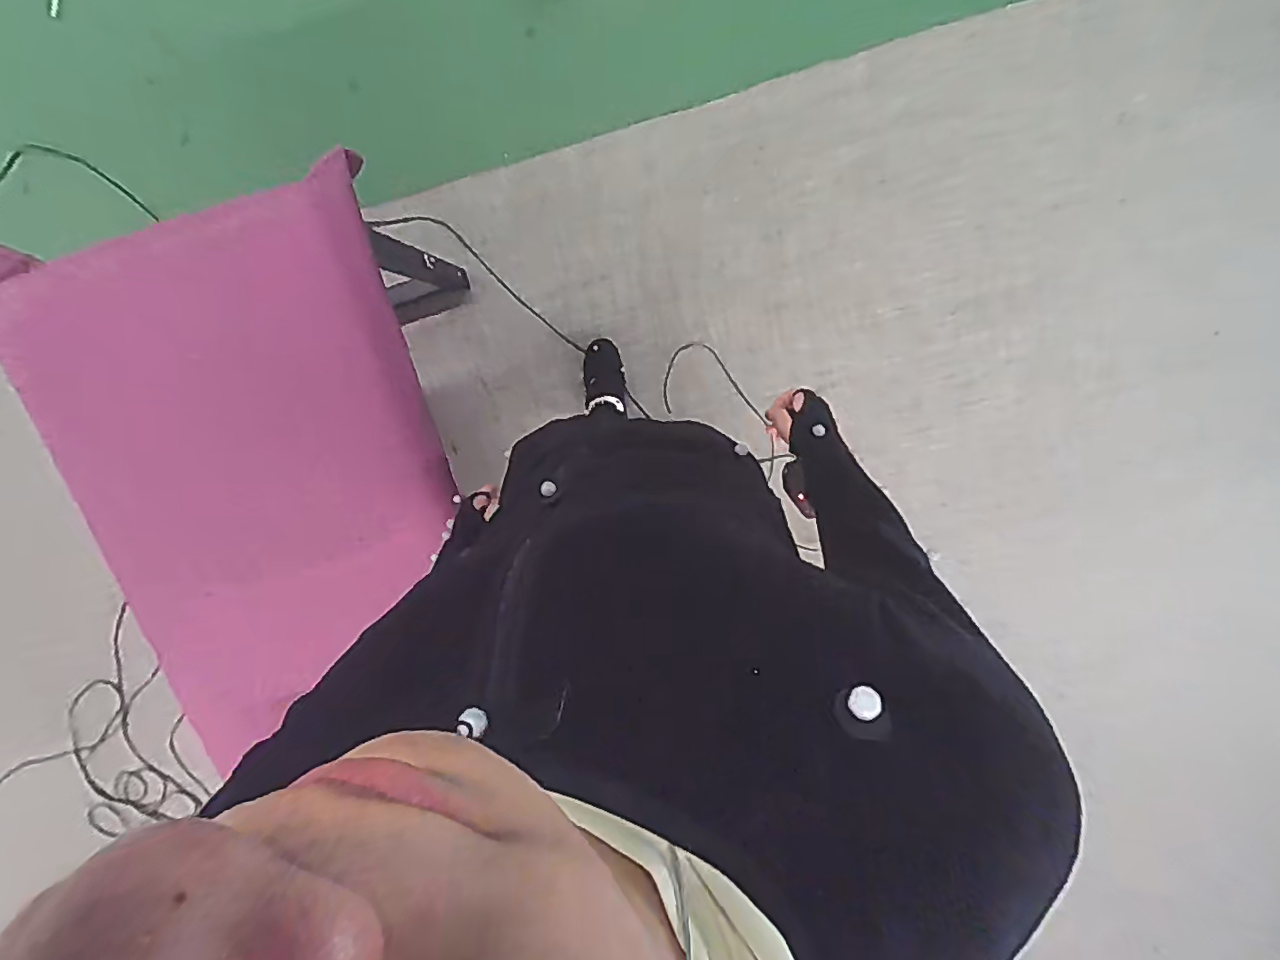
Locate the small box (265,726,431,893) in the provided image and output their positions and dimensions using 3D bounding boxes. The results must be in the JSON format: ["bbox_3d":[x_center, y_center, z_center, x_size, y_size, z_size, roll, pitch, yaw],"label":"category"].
[{"bbox_3d":[-0.493,0.565,0.949,0.179,0.176,0.168,-17,100,5],"label":"small box"}]
